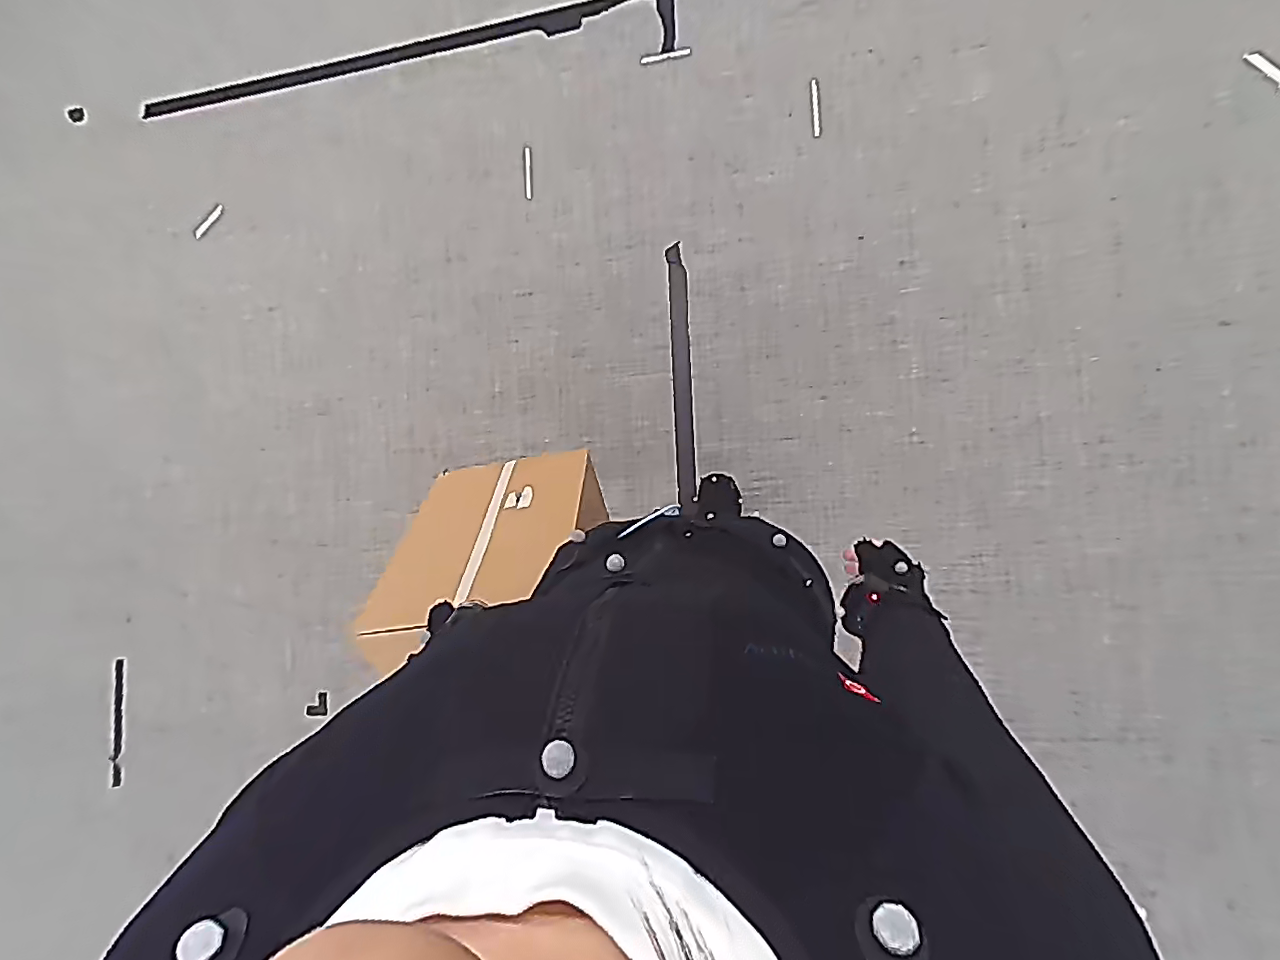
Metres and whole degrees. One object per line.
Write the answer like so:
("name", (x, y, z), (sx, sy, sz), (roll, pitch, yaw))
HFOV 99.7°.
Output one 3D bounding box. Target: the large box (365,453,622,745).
("large box", (-0.218, 0.204, 0.996), (0.320, 0.408, 0.320), (-9, 124, 7))
